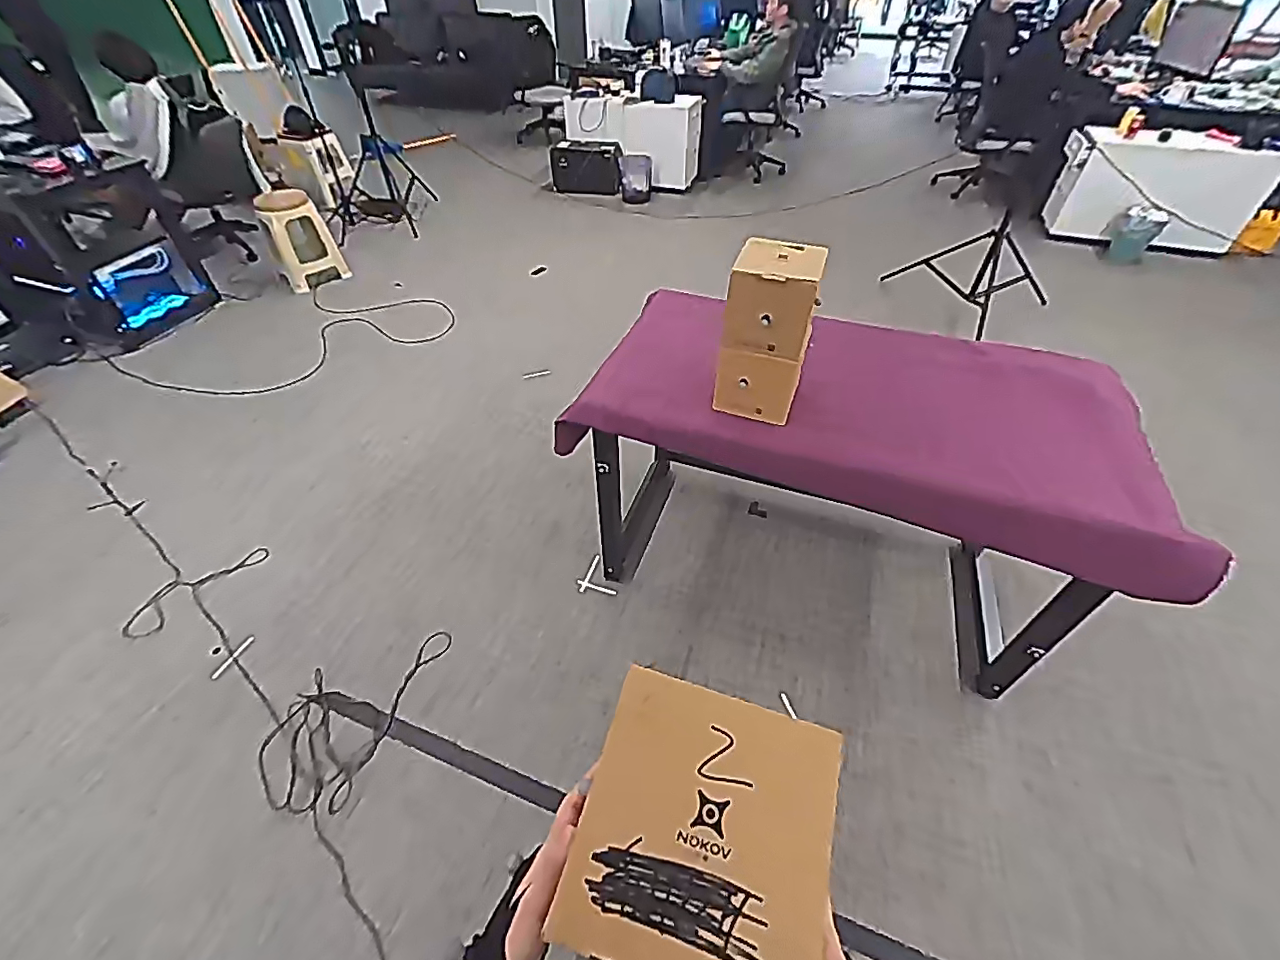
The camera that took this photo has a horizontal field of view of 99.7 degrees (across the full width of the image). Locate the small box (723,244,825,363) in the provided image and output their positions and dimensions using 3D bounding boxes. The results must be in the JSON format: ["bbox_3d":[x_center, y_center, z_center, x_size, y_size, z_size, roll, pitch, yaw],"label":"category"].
[{"bbox_3d":[0.273,-0.363,1.119,0.168,0.176,0.179,15,46,14],"label":"small box"}]

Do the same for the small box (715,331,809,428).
[{"bbox_3d":[0.273,-0.243,1.231,0.168,0.176,0.179,16,46,15],"label":"small box"}]
